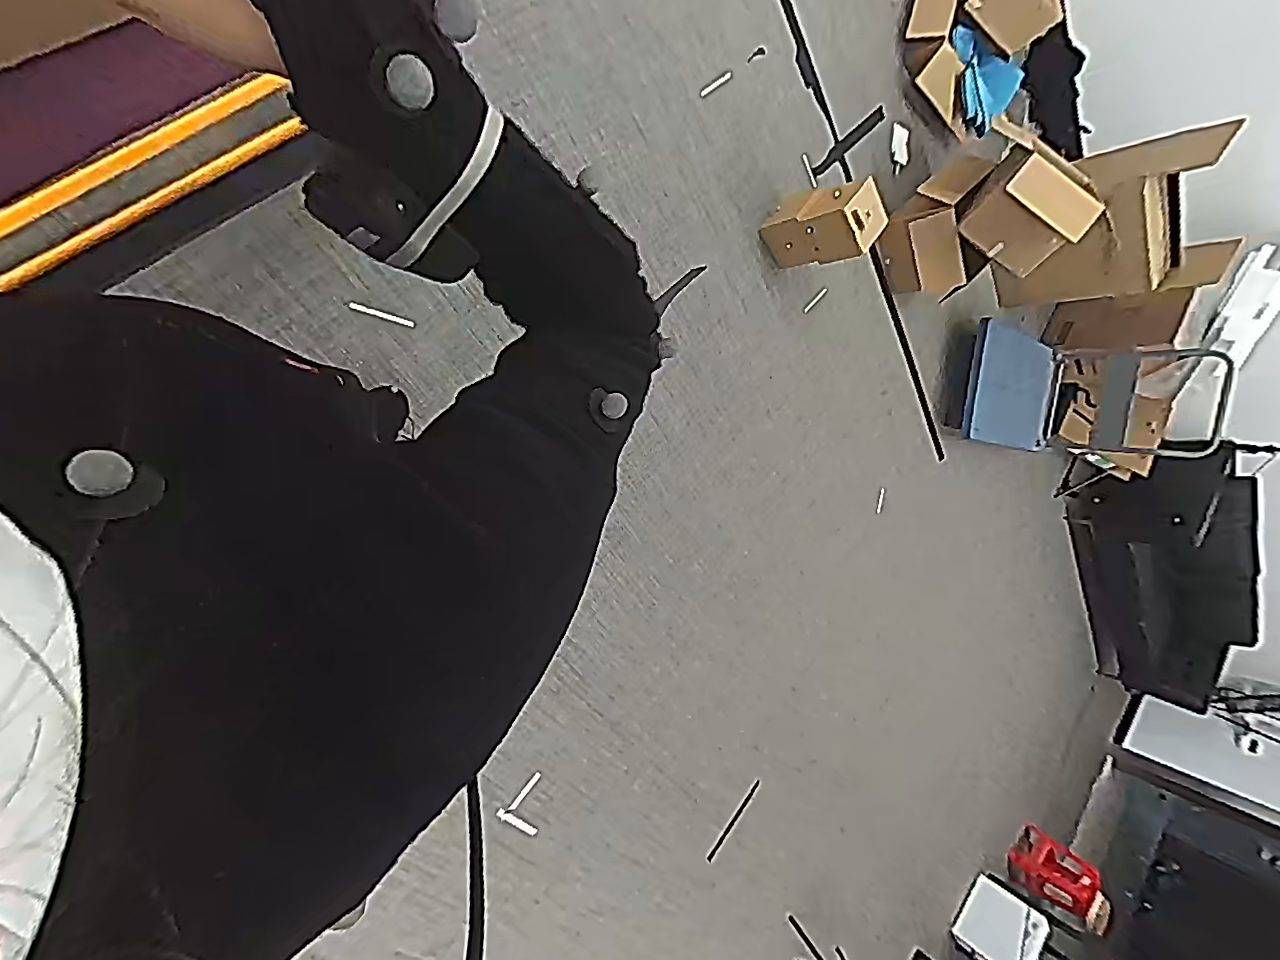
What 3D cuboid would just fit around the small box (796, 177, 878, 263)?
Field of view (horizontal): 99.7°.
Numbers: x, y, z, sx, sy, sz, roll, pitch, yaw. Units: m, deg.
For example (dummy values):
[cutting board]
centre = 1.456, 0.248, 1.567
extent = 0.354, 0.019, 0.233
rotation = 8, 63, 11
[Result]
[small box]
centre = 0.627, -0.829, 1.744
extent = 0.179, 0.176, 0.168
rotation = -52, 123, -18
